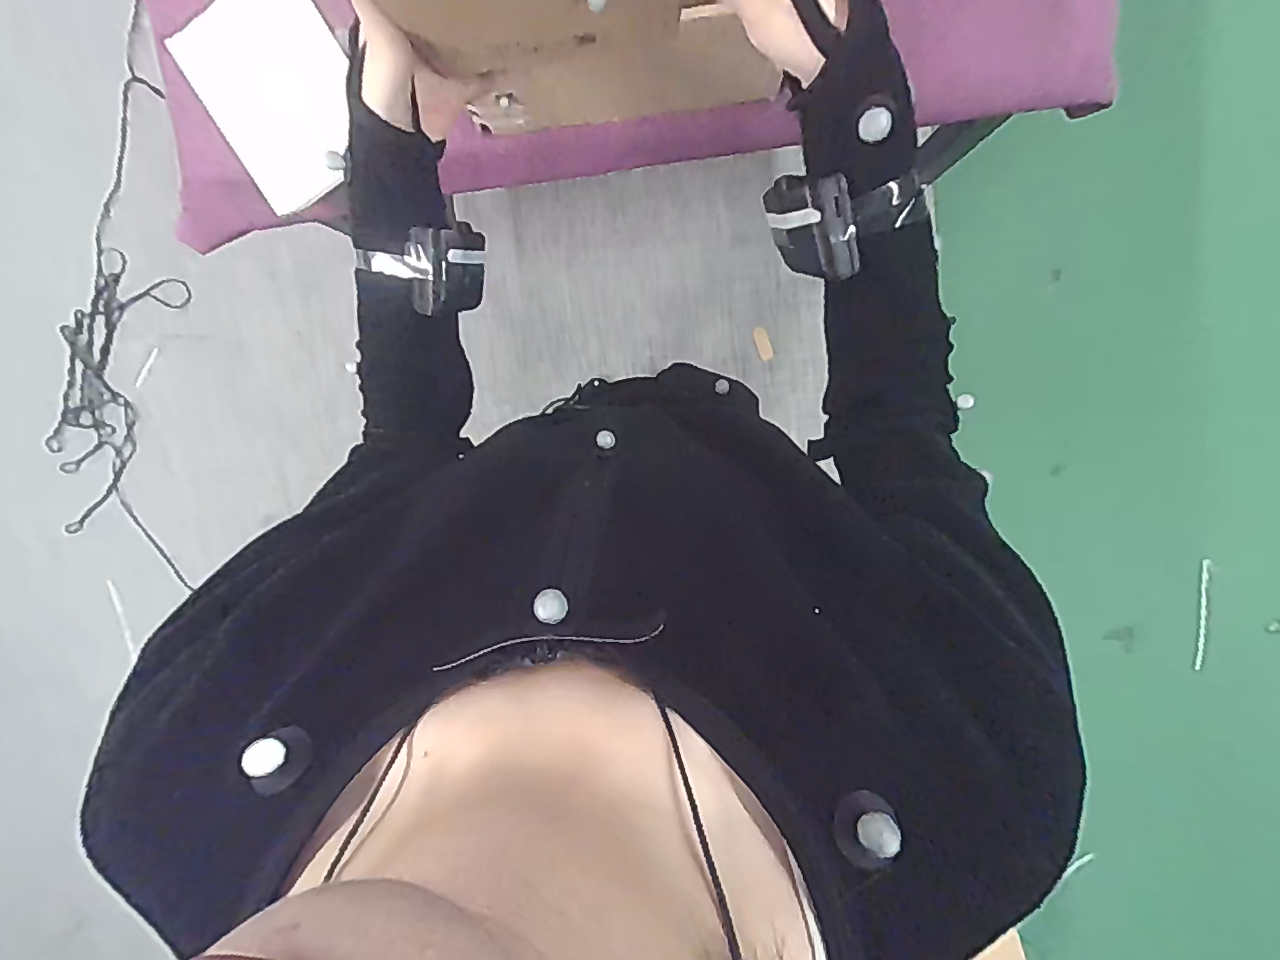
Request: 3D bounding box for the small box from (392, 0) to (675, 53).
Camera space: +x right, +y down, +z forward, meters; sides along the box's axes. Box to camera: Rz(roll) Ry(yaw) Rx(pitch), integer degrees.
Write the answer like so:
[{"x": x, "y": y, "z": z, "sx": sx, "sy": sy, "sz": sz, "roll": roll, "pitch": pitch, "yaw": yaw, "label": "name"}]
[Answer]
[{"x": -0.067, "y": -0.347, "z": 0.265, "sx": 0.168, "sy": 0.176, "sz": 0.179, "roll": -5, "pitch": 106, "yaw": 3, "label": "small box"}]
